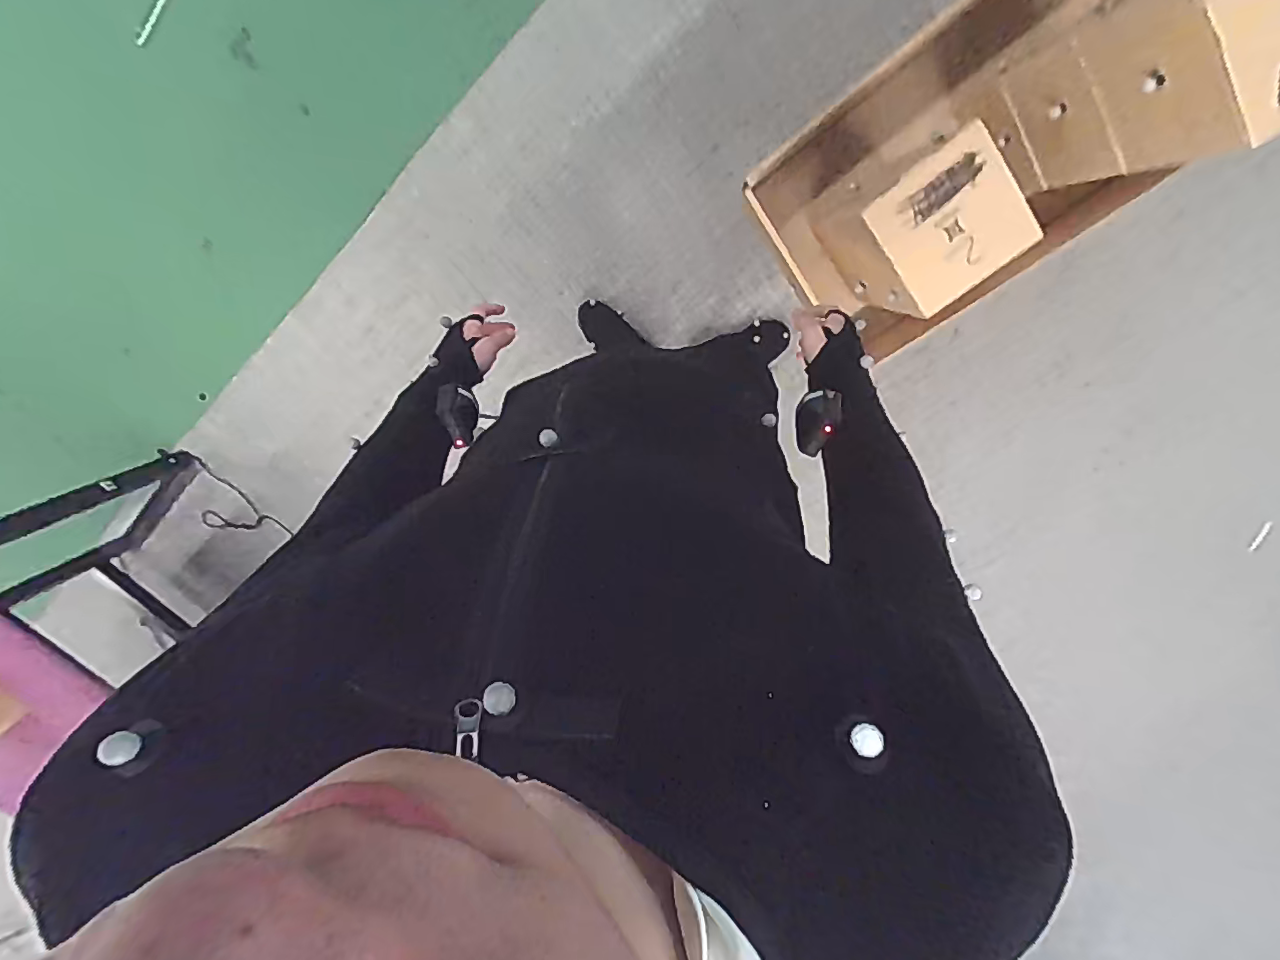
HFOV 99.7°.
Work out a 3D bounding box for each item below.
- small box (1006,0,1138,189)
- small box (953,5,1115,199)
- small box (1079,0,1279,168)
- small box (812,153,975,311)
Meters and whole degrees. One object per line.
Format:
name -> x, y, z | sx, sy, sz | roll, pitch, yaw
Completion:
small box -> 0.625, -0.514, 0.705 | 0.168, 0.176, 0.179 | -32, 105, 18
small box -> 0.637, -0.576, 0.857 | 0.168, 0.176, 0.179 | -31, 107, 17
small box -> 0.611, -0.450, 0.553 | 0.168, 0.176, 0.179 | -33, 105, 17
small box -> 0.425, -0.421, 0.934 | 0.168, 0.176, 0.179 | -35, 105, 16
